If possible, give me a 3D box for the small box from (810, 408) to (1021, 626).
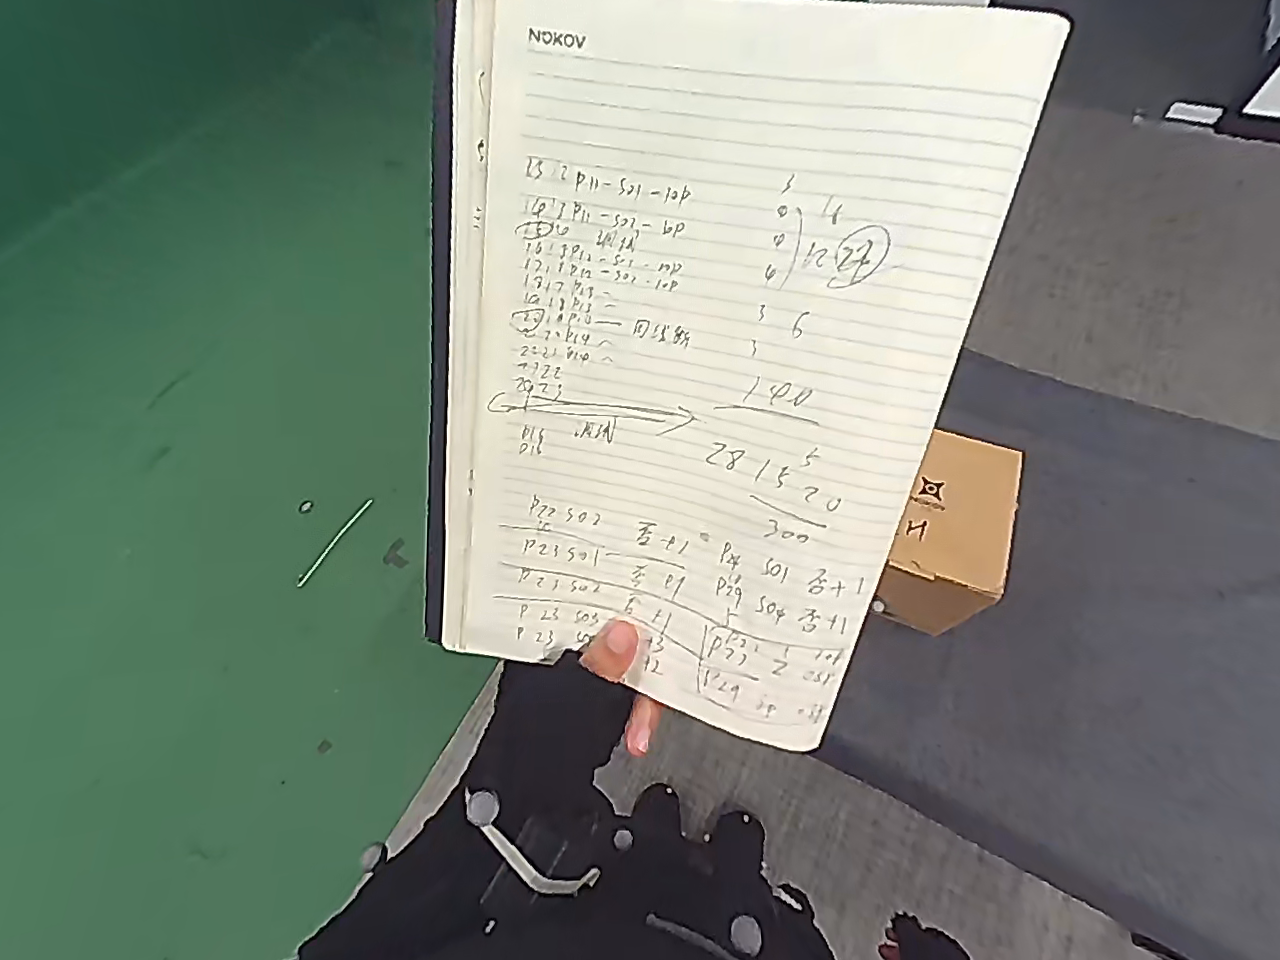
[{"bbox_3d":[0.314,0.049,0.644,0.168,0.176,0.179,18,66,16],"label":"small box"}]
